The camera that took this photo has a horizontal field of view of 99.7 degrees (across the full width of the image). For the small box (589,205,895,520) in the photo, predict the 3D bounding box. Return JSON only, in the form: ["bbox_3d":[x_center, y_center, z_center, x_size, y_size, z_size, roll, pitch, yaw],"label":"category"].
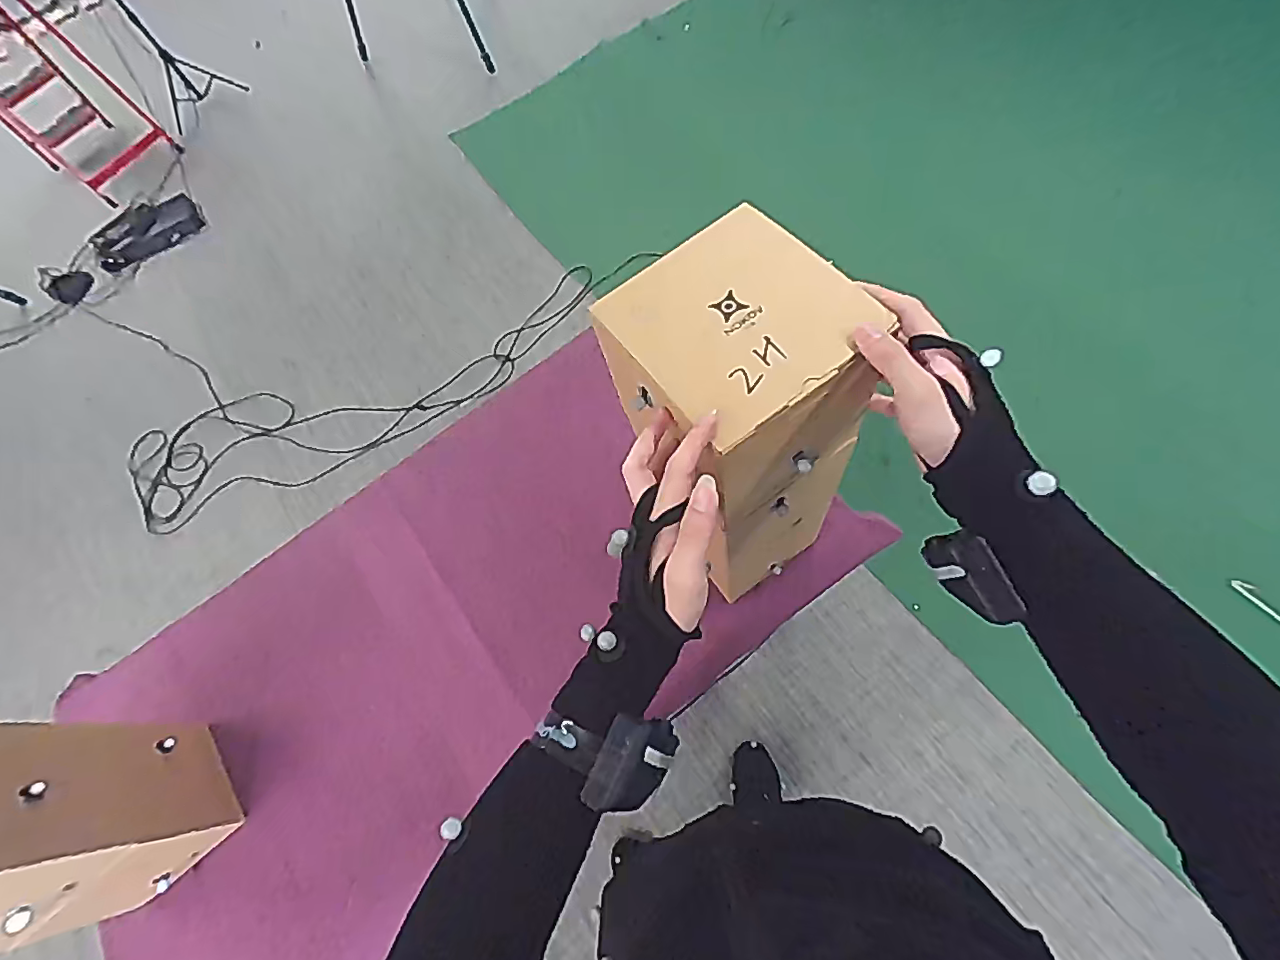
[{"bbox_3d":[0.083,-0.094,0.481,0.168,0.176,0.179,-36,65,-5],"label":"small box"}]

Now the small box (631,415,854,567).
[{"bbox_3d":[0.112,-0.025,0.631,0.168,0.176,0.179,-35,65,-5],"label":"small box"}]

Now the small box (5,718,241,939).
[{"bbox_3d":[-0.700,0.452,0.735,0.168,0.176,0.179,-40,67,-9],"label":"small box"}]

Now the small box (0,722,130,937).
[{"bbox_3d":[-0.724,0.386,0.587,0.168,0.176,0.179,-40,67,-8],"label":"small box"}]
